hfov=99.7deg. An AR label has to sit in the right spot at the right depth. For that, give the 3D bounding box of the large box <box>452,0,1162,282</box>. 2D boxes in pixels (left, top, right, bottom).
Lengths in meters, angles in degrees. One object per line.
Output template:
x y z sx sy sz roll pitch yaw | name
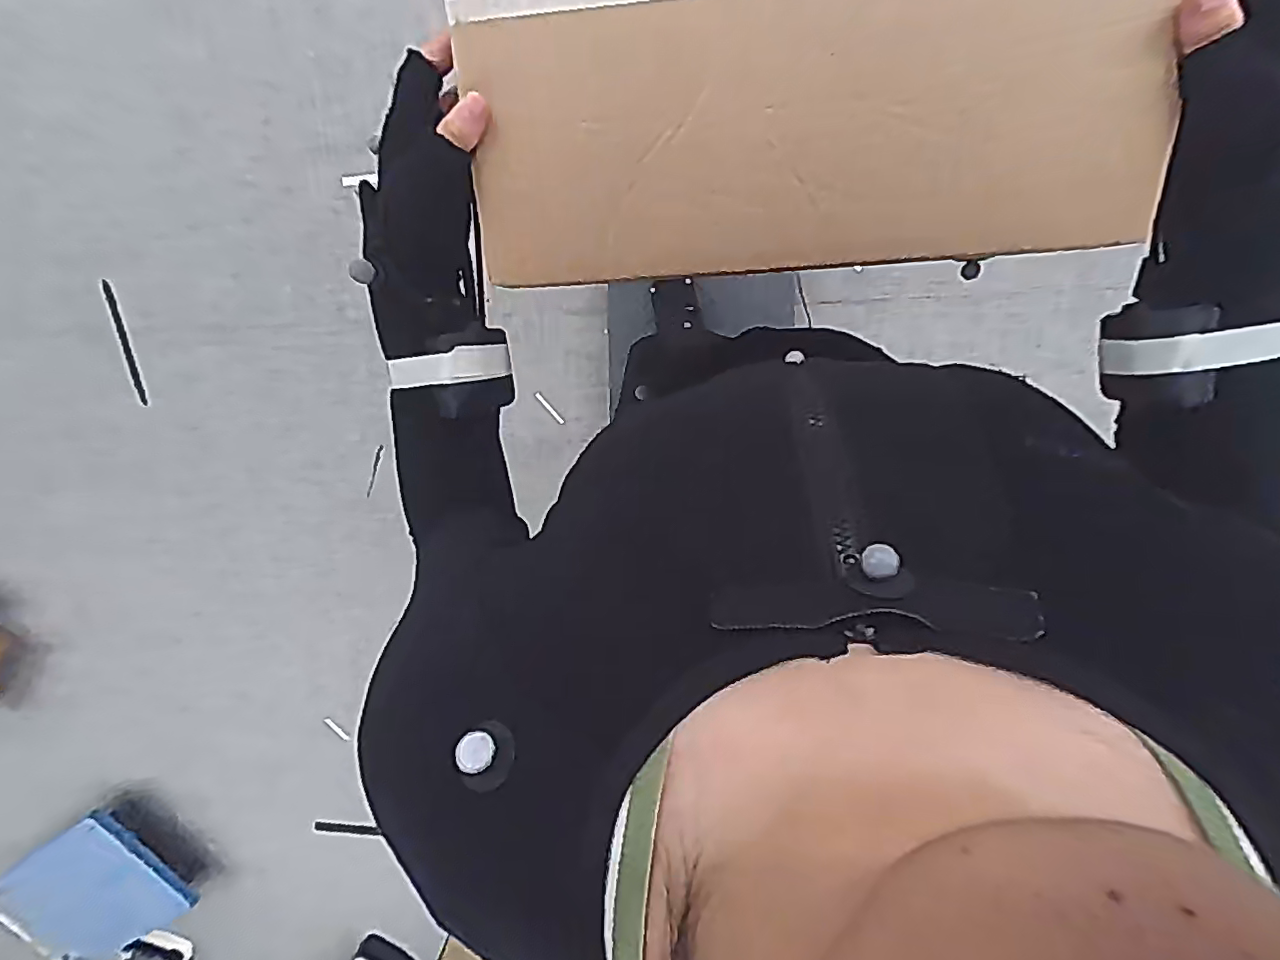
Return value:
0.099 -0.345 0.436 0.408 0.320 0.320 -2 112 6 | large box
